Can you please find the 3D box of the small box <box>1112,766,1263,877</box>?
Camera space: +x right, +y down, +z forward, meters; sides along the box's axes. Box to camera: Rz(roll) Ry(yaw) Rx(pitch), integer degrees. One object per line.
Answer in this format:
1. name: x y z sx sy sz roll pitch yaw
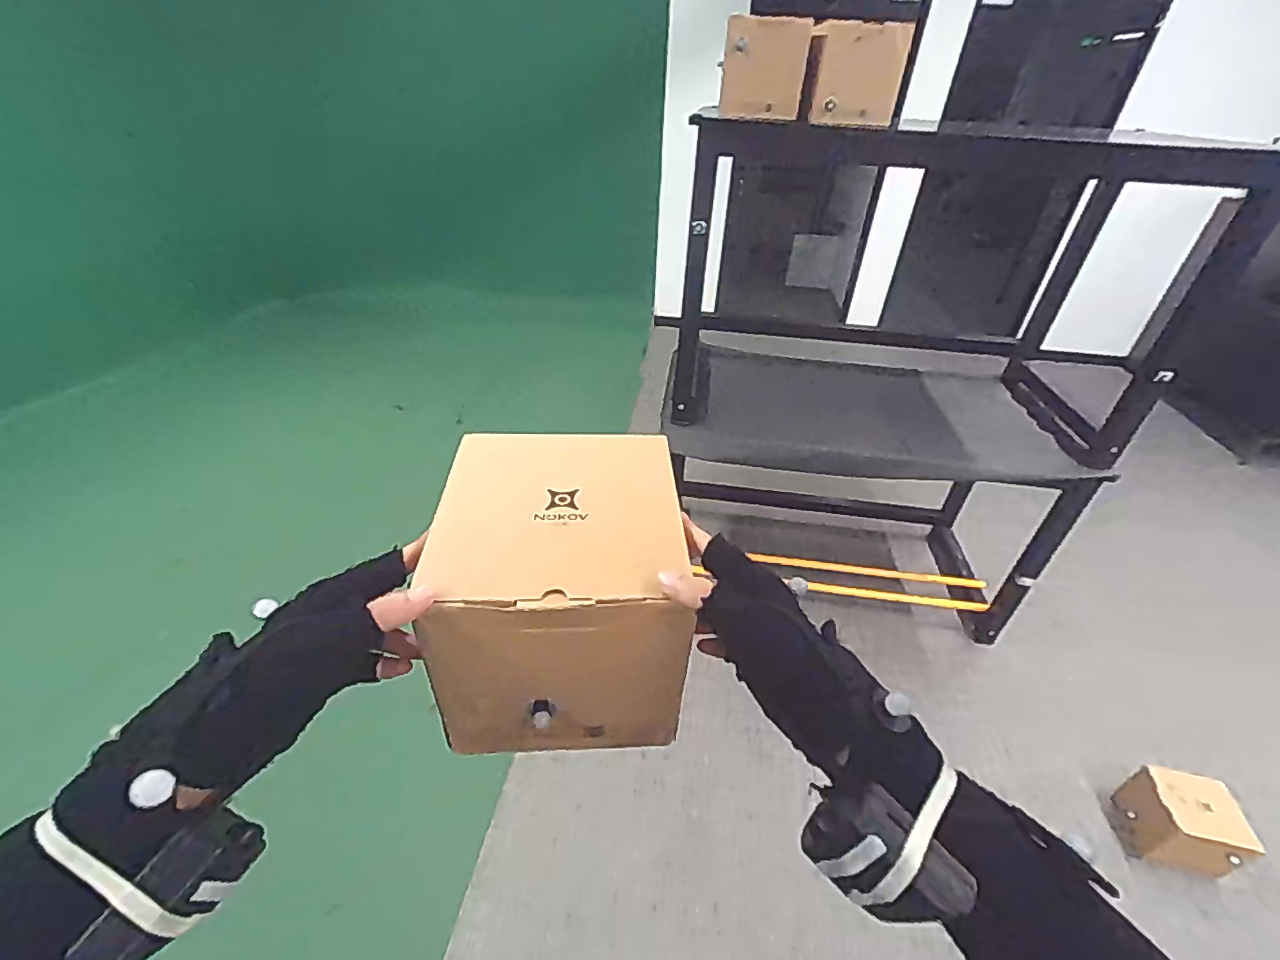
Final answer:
1. small box: 1.349 0.855 1.350 0.179 0.176 0.168 10 36 10
